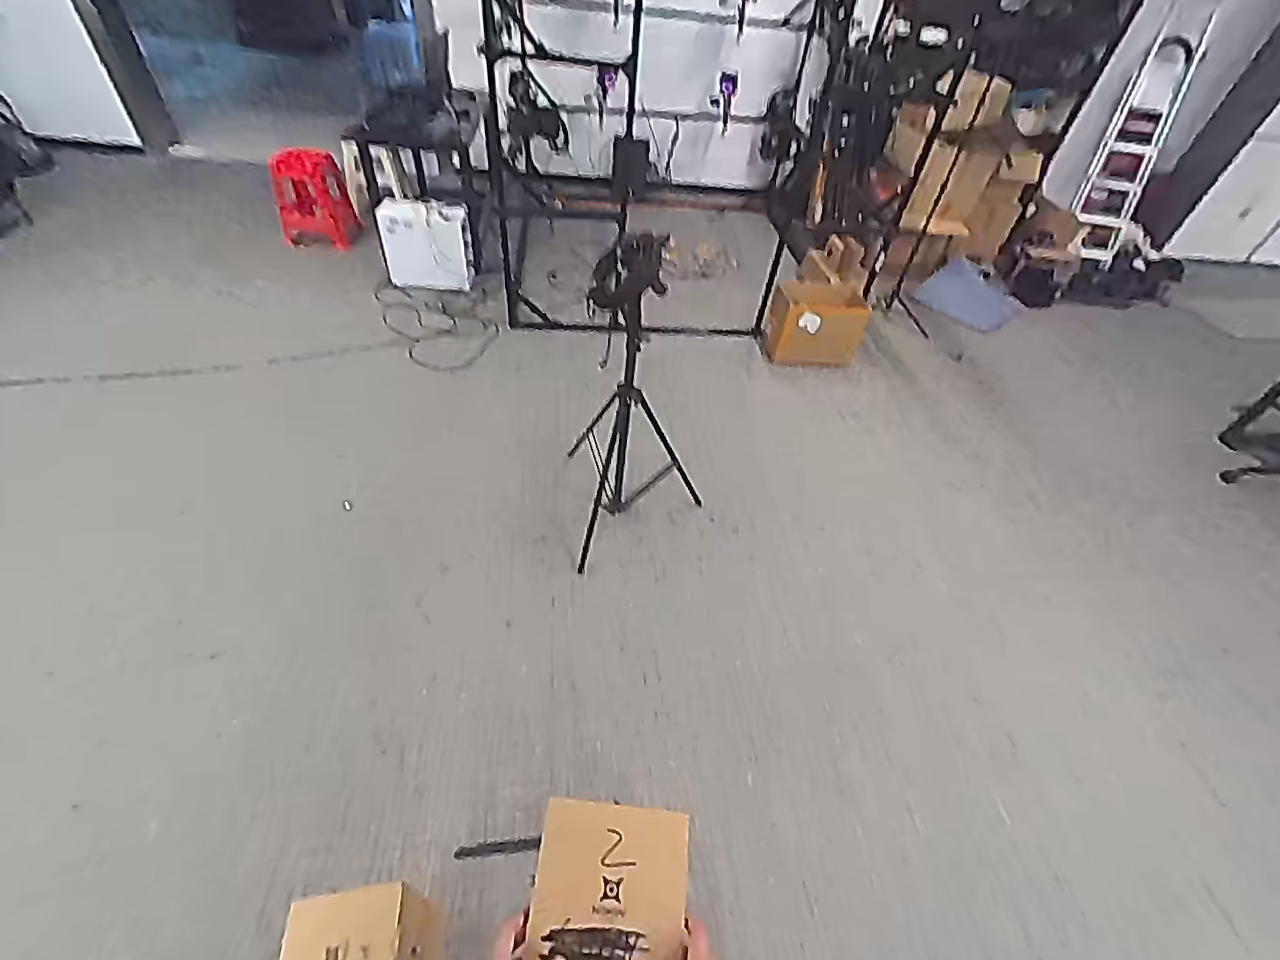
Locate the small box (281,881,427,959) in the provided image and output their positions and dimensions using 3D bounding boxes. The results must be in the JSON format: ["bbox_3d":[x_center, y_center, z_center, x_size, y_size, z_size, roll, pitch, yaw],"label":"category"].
[{"bbox_3d":[-0.466,0.784,0.886,0.179,0.176,0.168,-3,46,-9],"label":"small box"}]

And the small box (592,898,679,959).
[{"bbox_3d":[-0.014,1.024,1.168,0.179,0.176,0.168,1,46,-7],"label":"small box"}]
